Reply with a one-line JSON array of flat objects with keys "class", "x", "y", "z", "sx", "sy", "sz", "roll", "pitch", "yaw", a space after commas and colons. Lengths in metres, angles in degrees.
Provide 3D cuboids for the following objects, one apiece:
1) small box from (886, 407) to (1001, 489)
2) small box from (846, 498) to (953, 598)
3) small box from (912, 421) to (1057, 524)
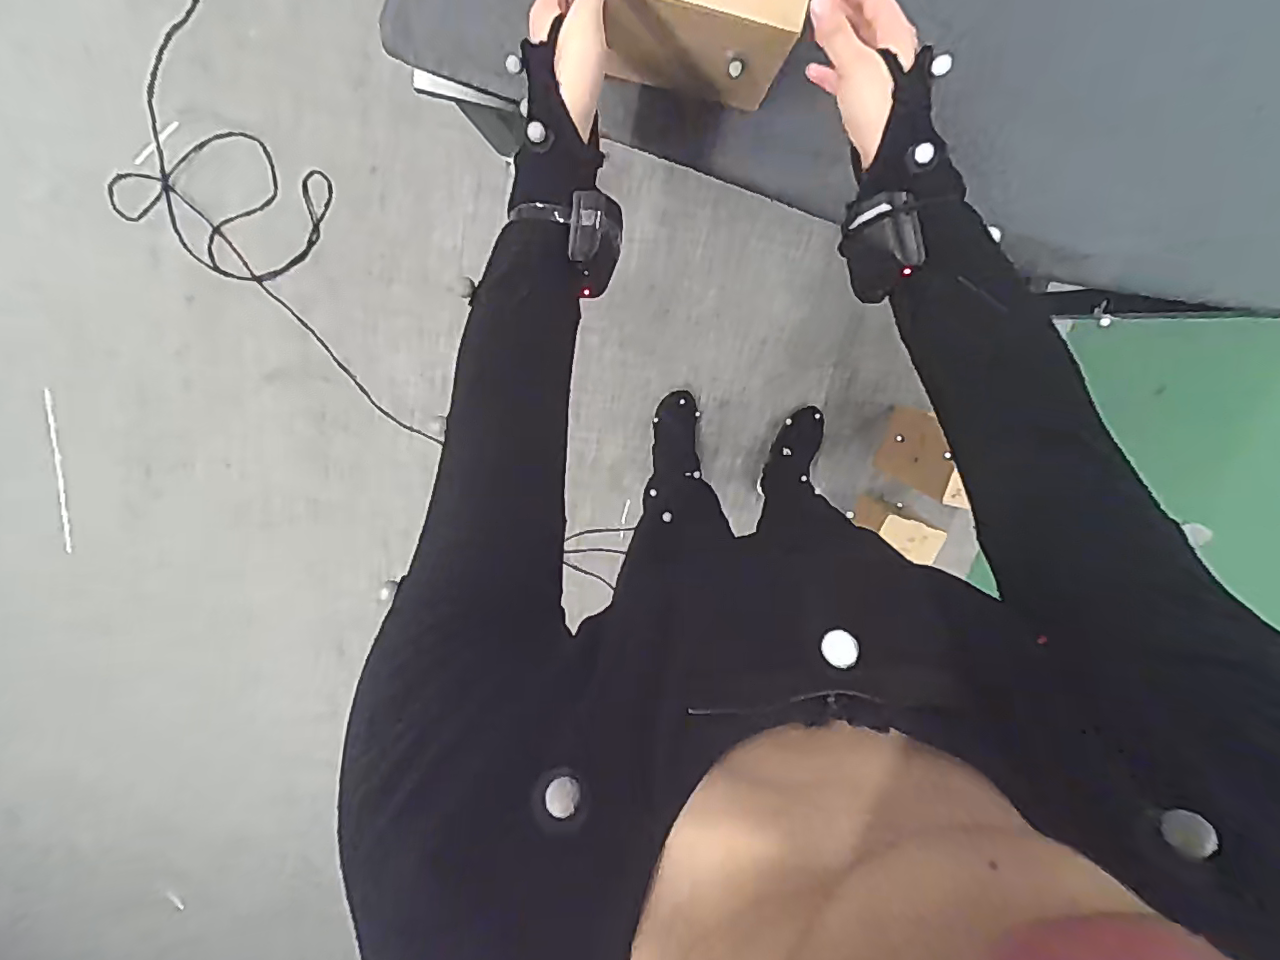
[{"class": "small box", "x": 0.735, "y": -0.072, "z": 1.336, "sx": 0.168, "sy": 0.176, "sz": 0.179, "roll": 10, "pitch": 105, "yaw": -2}, {"class": "small box", "x": 0.661, "y": 0.172, "z": 1.406, "sx": 0.168, "sy": 0.176, "sz": 0.179, "roll": 20, "pitch": 106, "yaw": -4}, {"class": "small box", "x": 0.737, "y": -0.023, "z": 1.178, "sx": 0.179, "sy": 0.176, "sz": 0.168, "roll": 12, "pitch": 107, "yaw": -3}]
